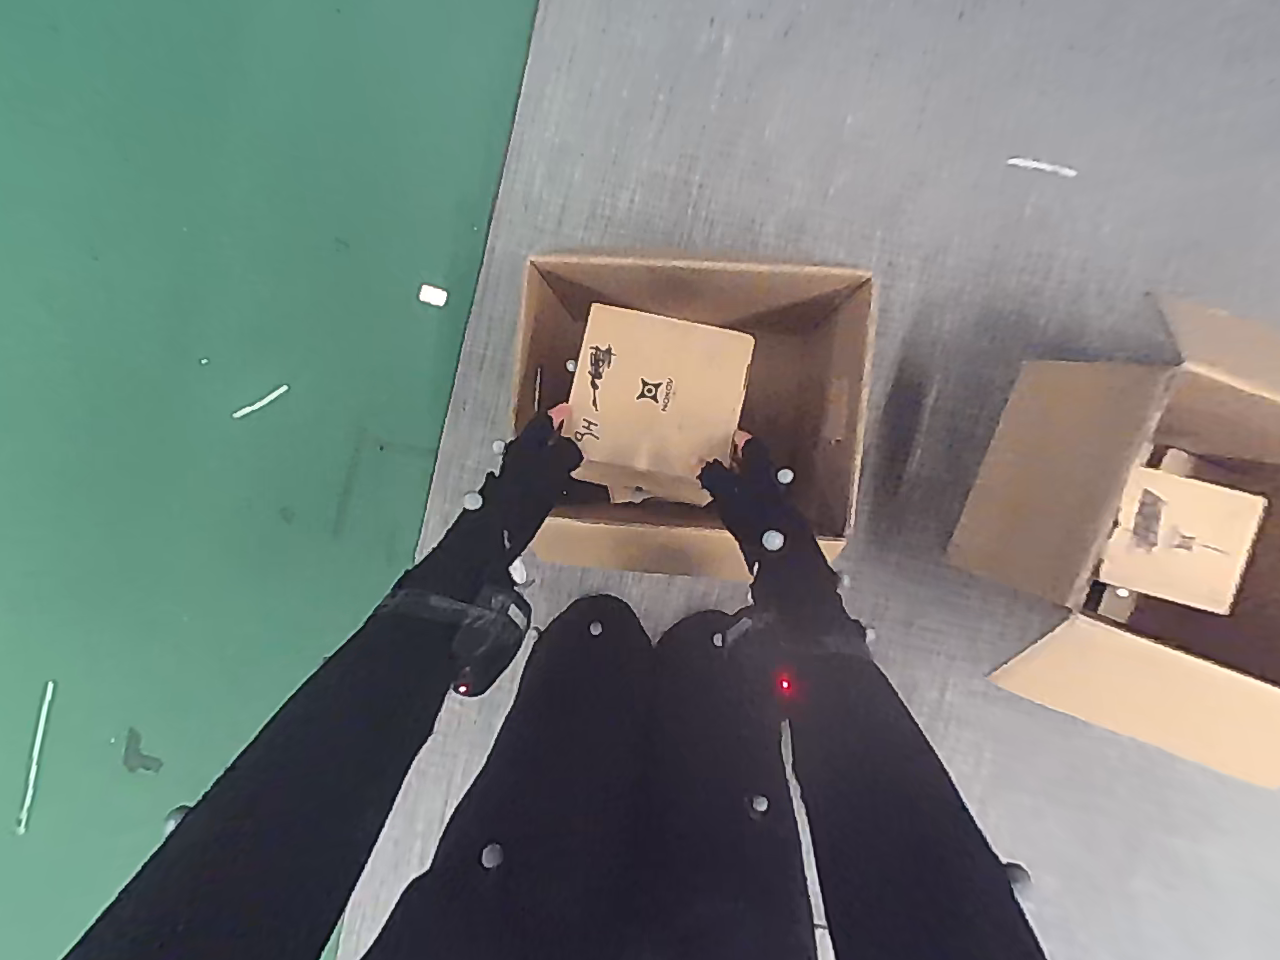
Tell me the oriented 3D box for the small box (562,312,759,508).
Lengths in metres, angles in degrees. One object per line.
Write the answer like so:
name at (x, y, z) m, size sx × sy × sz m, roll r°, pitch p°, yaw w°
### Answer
small box at (0.019, -0.067, 0.628) m, size 0.179 × 0.176 × 0.168 m, roll 12°, pitch 80°, yaw -1°
